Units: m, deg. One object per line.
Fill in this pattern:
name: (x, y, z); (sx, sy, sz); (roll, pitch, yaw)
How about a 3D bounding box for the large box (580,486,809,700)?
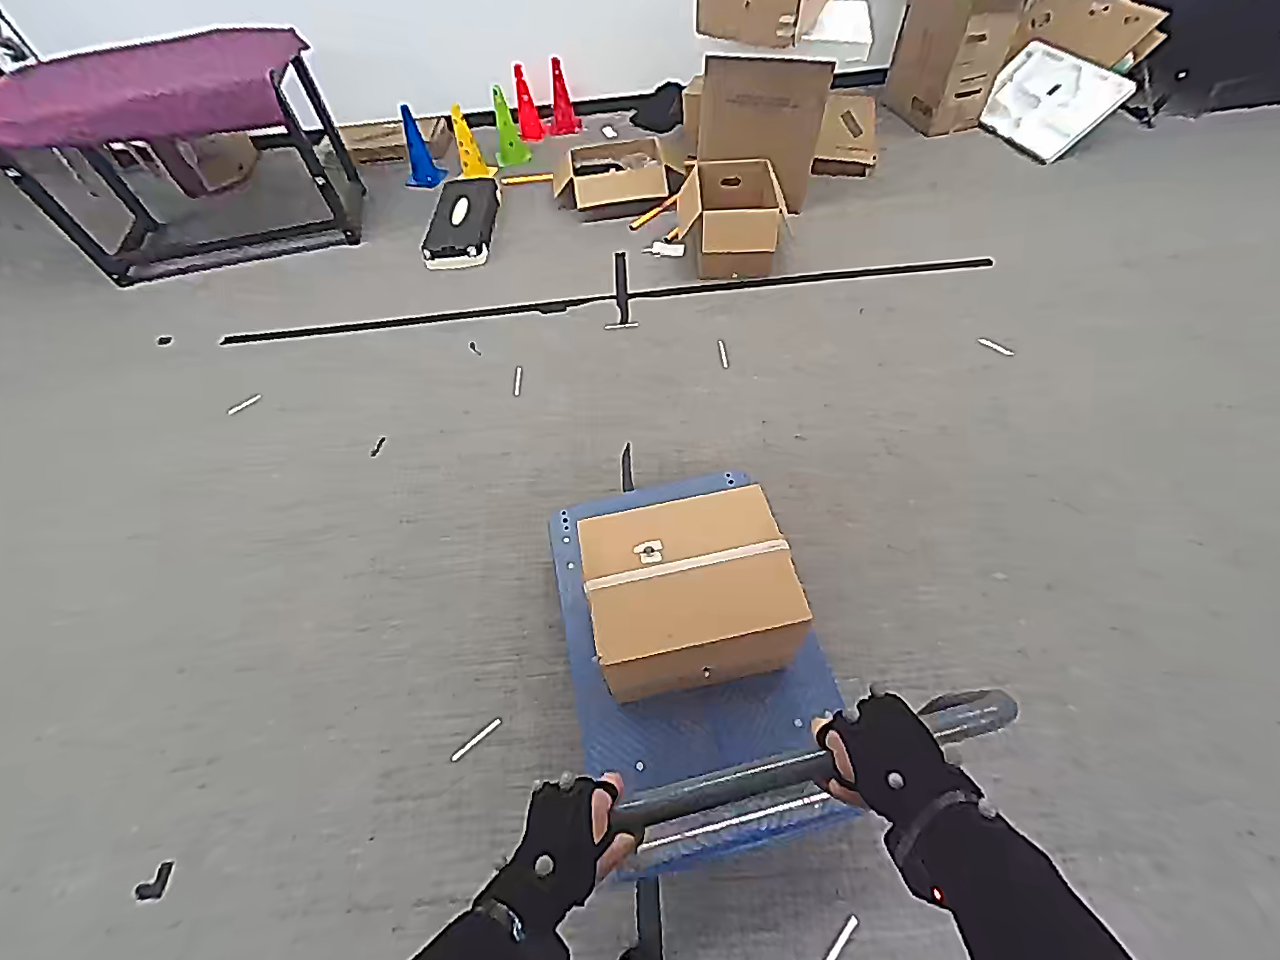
large box: (0.107, 0.260, 1.208); (0.408, 0.320, 0.320); (-12, 55, -3)
